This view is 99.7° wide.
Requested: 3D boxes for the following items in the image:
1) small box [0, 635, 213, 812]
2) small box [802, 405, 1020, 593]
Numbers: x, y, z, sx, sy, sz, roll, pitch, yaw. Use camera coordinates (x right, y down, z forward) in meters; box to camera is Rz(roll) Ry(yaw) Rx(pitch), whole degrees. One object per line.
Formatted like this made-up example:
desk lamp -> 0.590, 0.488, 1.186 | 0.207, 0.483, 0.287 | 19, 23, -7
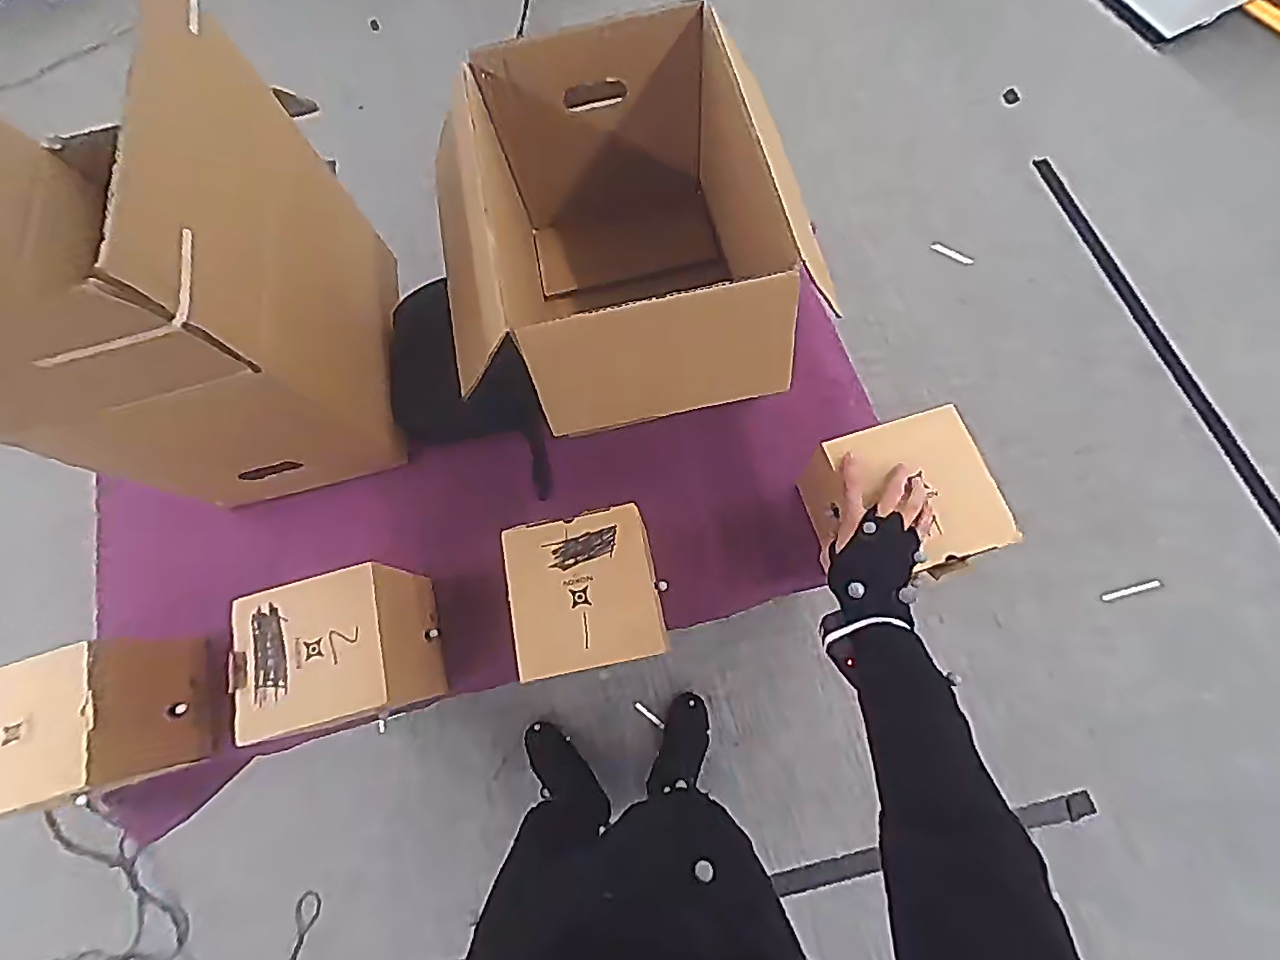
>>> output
small box -> -0.704, 0.309, 0.698 | 0.179, 0.176, 0.168 | -17, 72, -2
small box -> 0.324, 0.034, 0.693 | 0.168, 0.176, 0.179 | -17, 73, 1
